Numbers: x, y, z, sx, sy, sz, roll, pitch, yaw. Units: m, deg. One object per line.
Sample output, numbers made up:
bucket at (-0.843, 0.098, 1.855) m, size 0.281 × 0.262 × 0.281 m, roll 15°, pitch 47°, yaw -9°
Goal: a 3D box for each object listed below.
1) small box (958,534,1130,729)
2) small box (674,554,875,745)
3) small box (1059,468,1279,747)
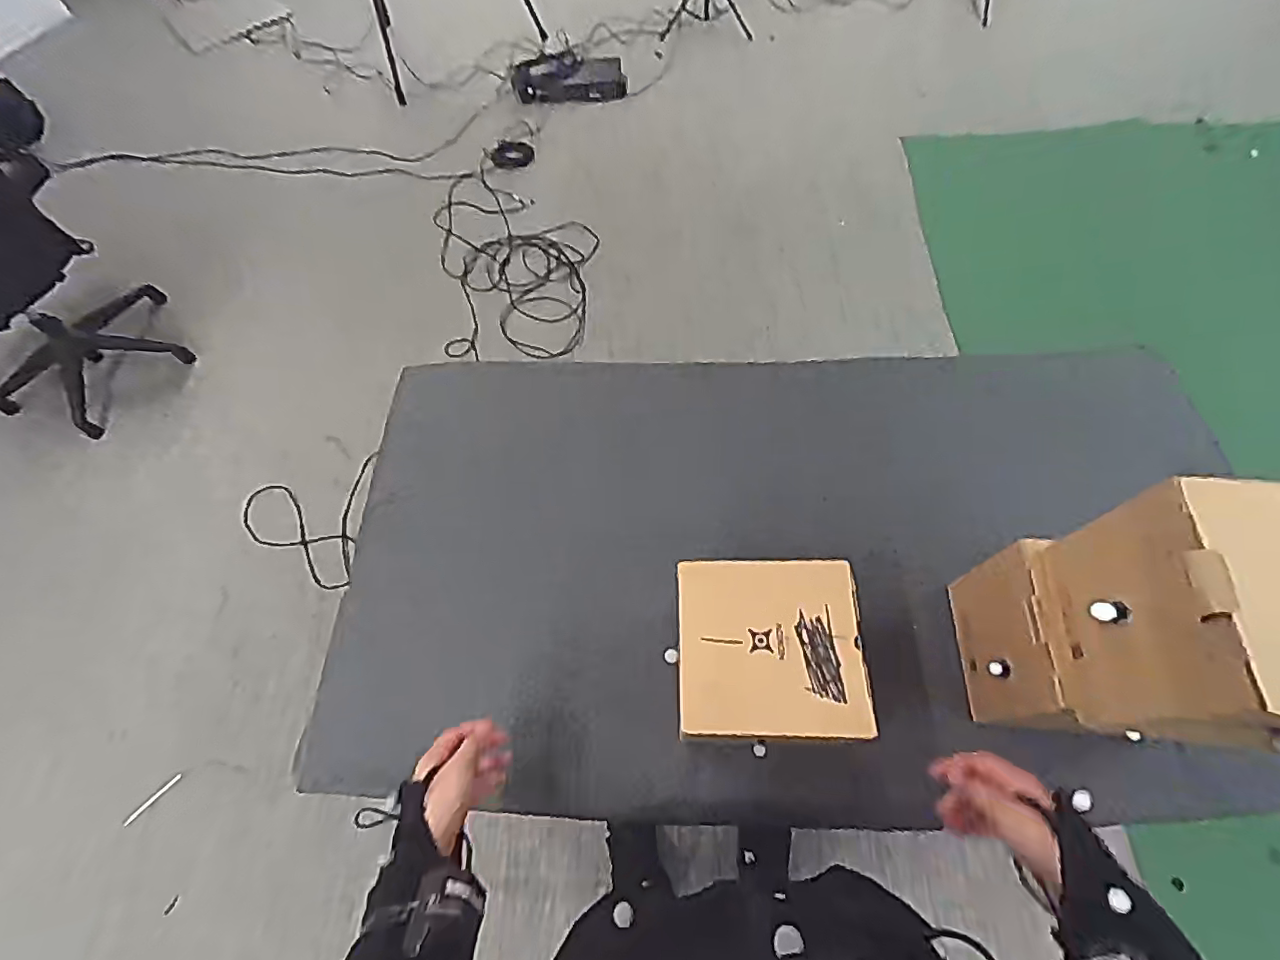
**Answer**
small box at (0.465, 0.166, 0.570) m, size 0.179 × 0.176 × 0.168 m, roll 3°, pitch 64°, yaw 4°
small box at (0.126, 0.186, 0.580) m, size 0.179 × 0.176 × 0.168 m, roll -1°, pitch 61°, yaw 5°
small box at (0.466, 0.106, 0.416) m, size 0.179 × 0.176 × 0.168 m, roll 5°, pitch 64°, yaw 7°
